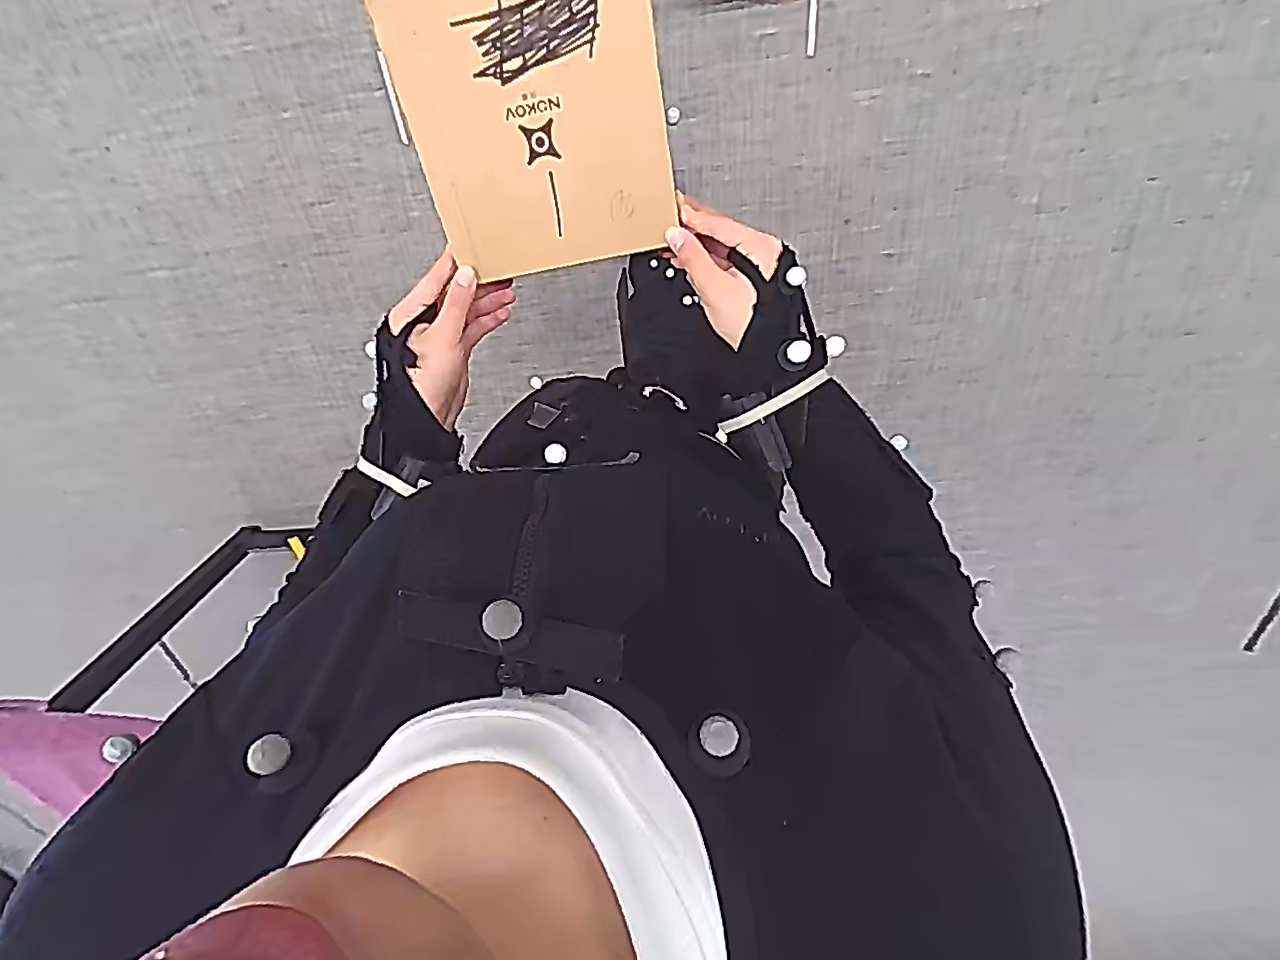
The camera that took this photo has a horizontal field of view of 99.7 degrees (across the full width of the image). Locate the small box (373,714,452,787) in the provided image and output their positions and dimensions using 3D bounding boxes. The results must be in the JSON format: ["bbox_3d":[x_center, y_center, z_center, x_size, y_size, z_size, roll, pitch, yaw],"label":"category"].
[{"bbox_3d":[-0.793,0.949,1.901,0.179,0.176,0.168,-7,122,6],"label":"small box"}]

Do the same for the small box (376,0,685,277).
[{"bbox_3d":[-0.065,-0.271,0.410,0.168,0.176,0.179,-9,121,4],"label":"small box"}]
